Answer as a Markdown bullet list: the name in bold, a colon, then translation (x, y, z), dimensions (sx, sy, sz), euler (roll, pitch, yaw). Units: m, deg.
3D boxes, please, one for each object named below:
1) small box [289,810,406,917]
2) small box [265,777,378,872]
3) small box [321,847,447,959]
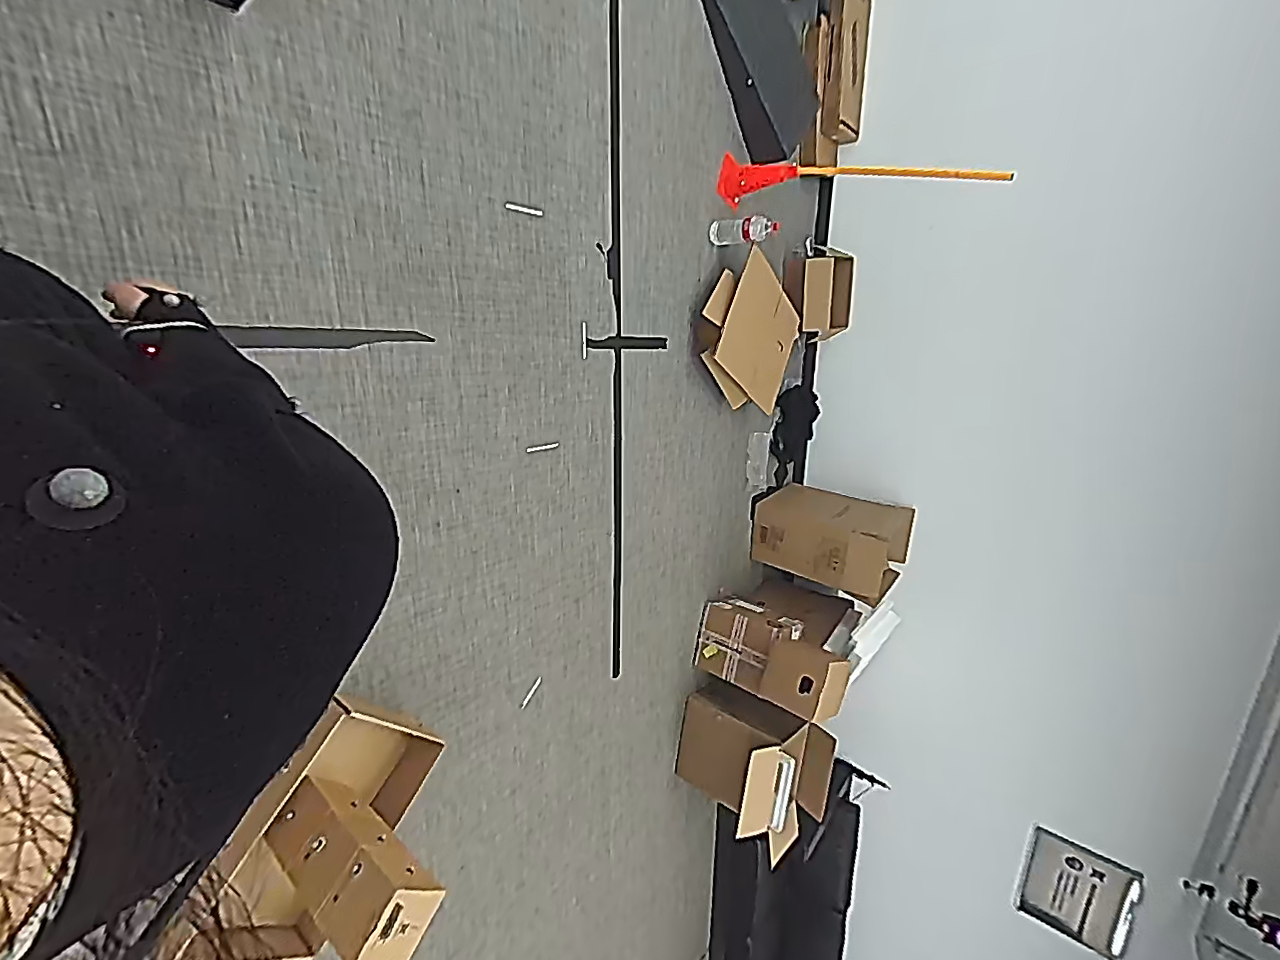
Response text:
- **small box**: translation (-0.743, 0.979, 1.385), dimensions (0.168, 0.176, 0.179), euler (-60, 139, -23)
- **small box**: translation (-0.870, 0.947, 1.481), dimensions (0.168, 0.176, 0.179), euler (-58, 139, -24)
- **small box**: translation (-0.612, 1.010, 1.291), dimensions (0.168, 0.176, 0.179), euler (-60, 142, -22)
